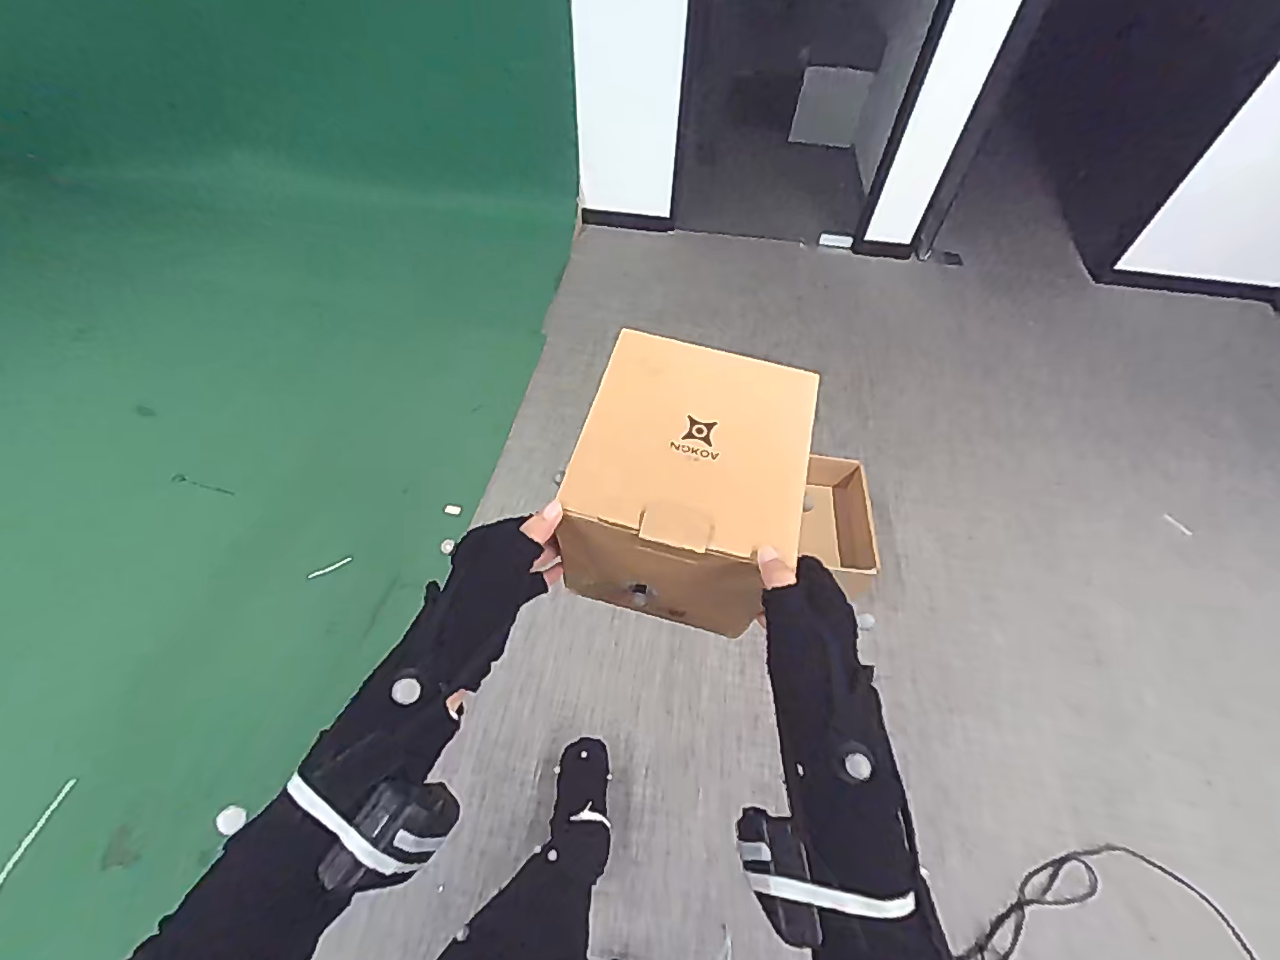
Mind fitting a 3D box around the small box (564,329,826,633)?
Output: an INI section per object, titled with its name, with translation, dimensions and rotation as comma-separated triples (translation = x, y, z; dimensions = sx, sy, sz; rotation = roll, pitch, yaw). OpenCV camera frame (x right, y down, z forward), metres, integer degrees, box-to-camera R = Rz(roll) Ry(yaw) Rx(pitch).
[small box]
translation = 0.042, 0.009, 0.462
dimensions = 0.168, 0.176, 0.179
rotation = 15, 61, 4
